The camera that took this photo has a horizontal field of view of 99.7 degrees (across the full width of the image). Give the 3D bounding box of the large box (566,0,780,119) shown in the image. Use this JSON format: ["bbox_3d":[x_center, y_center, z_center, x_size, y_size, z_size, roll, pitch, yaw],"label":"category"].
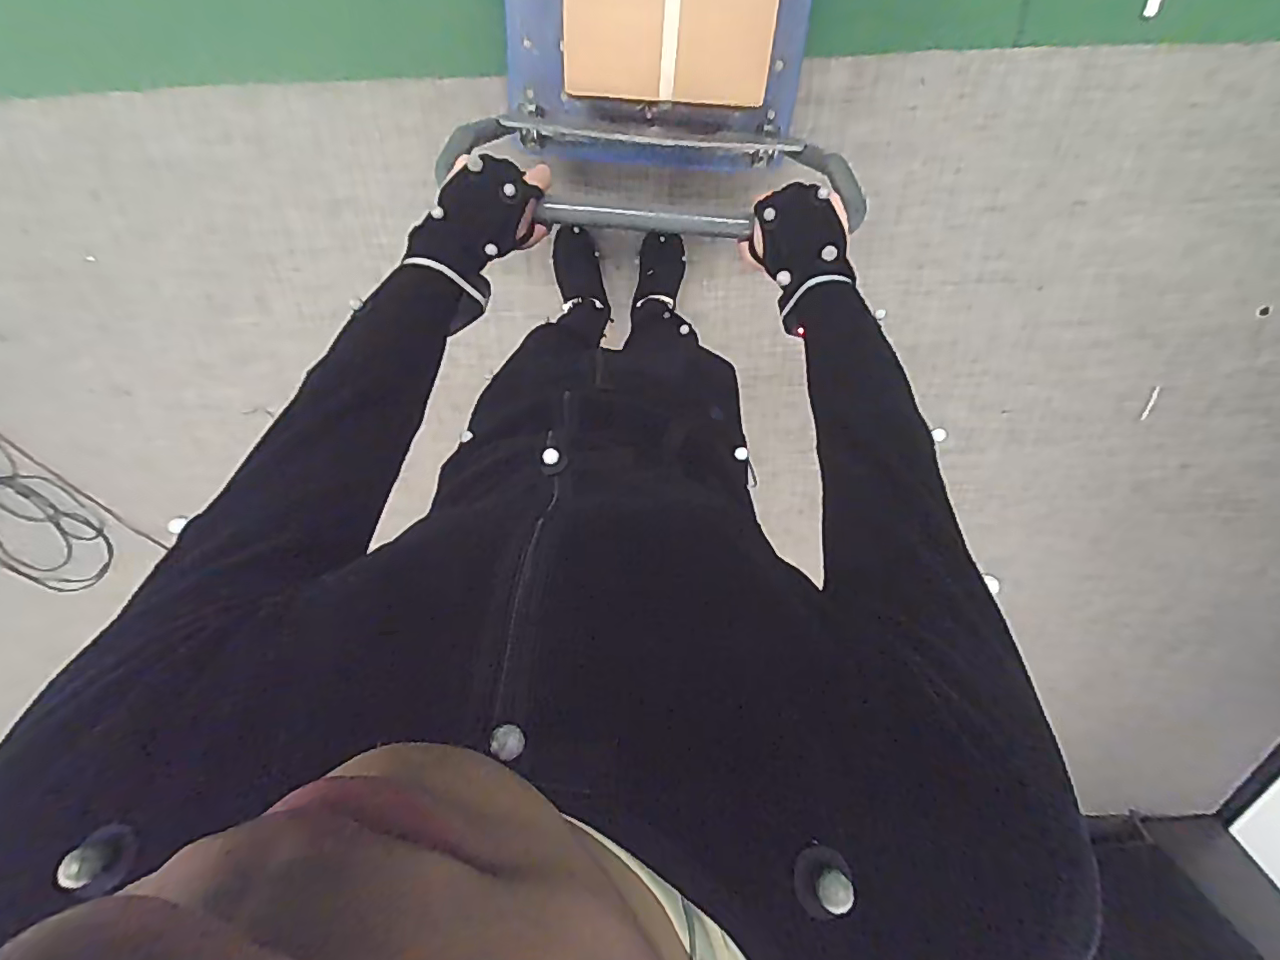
[{"bbox_3d":[0.055,-0.835,0.872,0.320,0.320,0.408,3,122,-2],"label":"large box"}]
